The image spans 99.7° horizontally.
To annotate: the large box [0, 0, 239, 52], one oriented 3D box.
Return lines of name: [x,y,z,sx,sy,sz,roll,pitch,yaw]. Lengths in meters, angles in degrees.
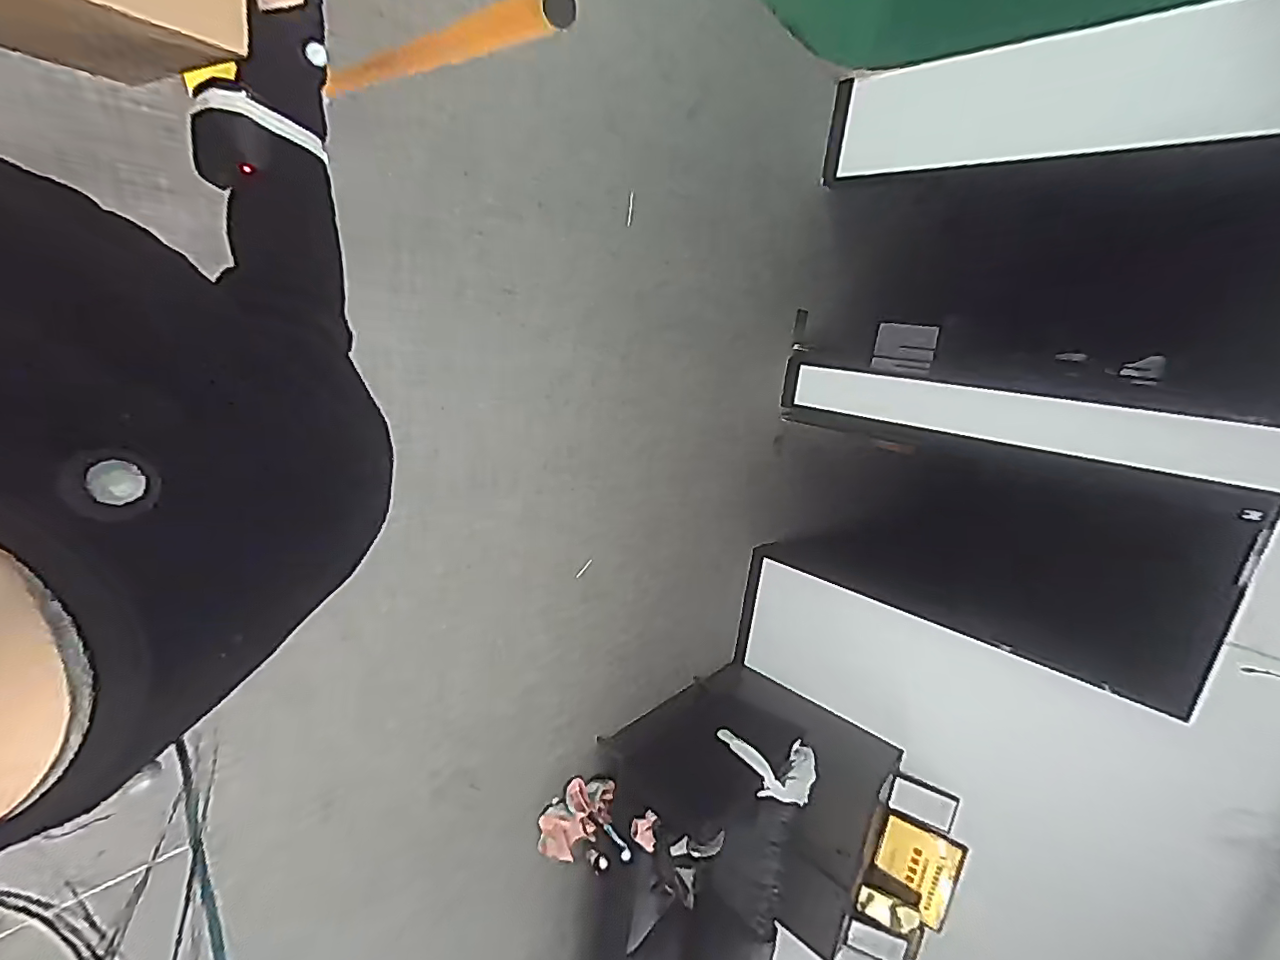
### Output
large box: [-0.514,-0.491,0.286,0.408,0.320,0.320,-16,123,-49]
